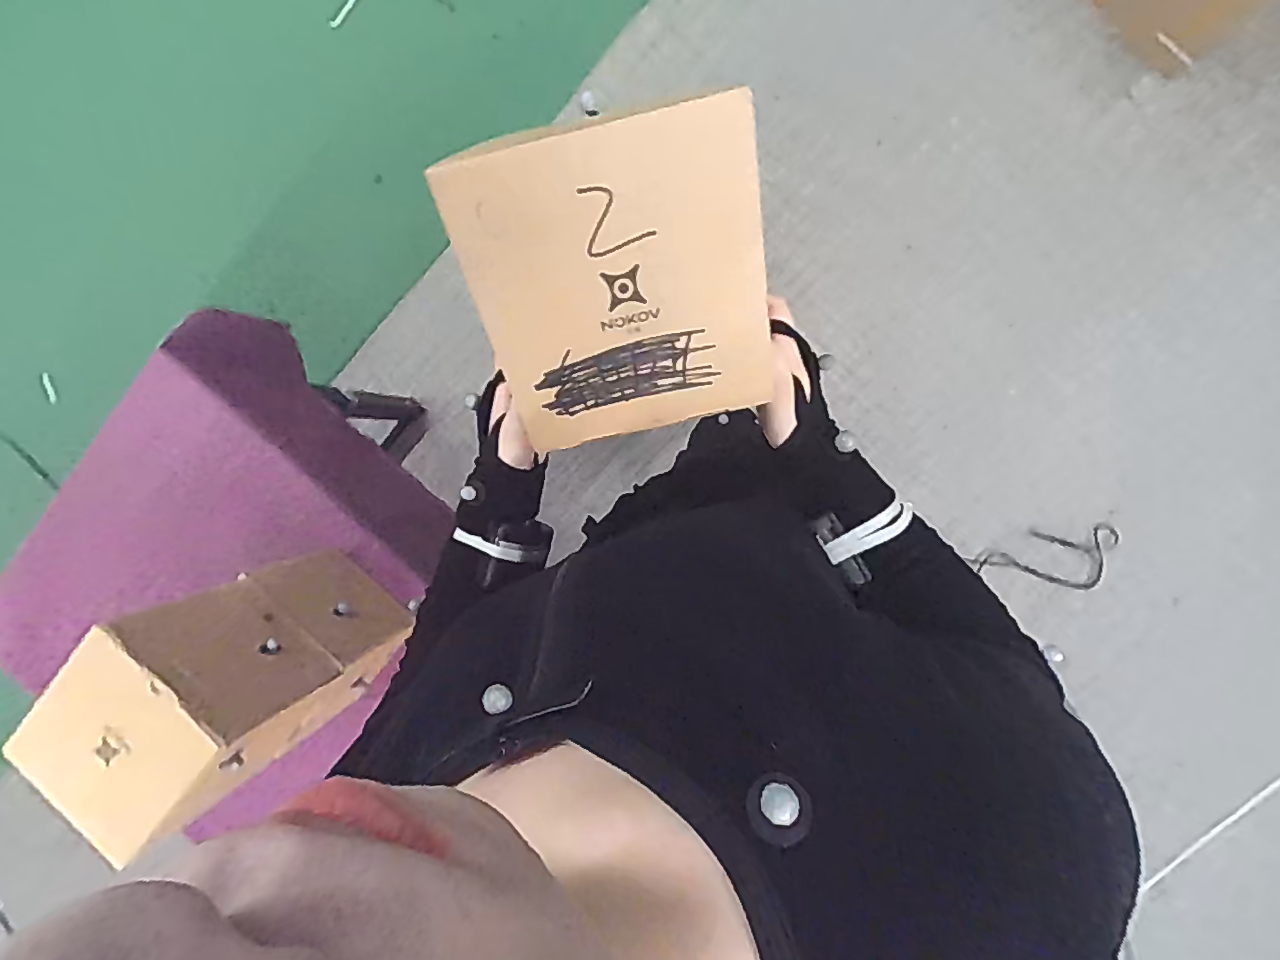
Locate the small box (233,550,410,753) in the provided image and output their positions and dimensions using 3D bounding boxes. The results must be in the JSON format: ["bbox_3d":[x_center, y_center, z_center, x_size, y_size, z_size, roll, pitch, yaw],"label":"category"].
[{"bbox_3d":[-0.458,0.218,0.741,0.179,0.176,0.168,40,97,2],"label":"small box"}]

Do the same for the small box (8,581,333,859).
[{"bbox_3d":[-0.481,0.237,0.580,0.168,0.176,0.179,42,97,3],"label":"small box"}]
